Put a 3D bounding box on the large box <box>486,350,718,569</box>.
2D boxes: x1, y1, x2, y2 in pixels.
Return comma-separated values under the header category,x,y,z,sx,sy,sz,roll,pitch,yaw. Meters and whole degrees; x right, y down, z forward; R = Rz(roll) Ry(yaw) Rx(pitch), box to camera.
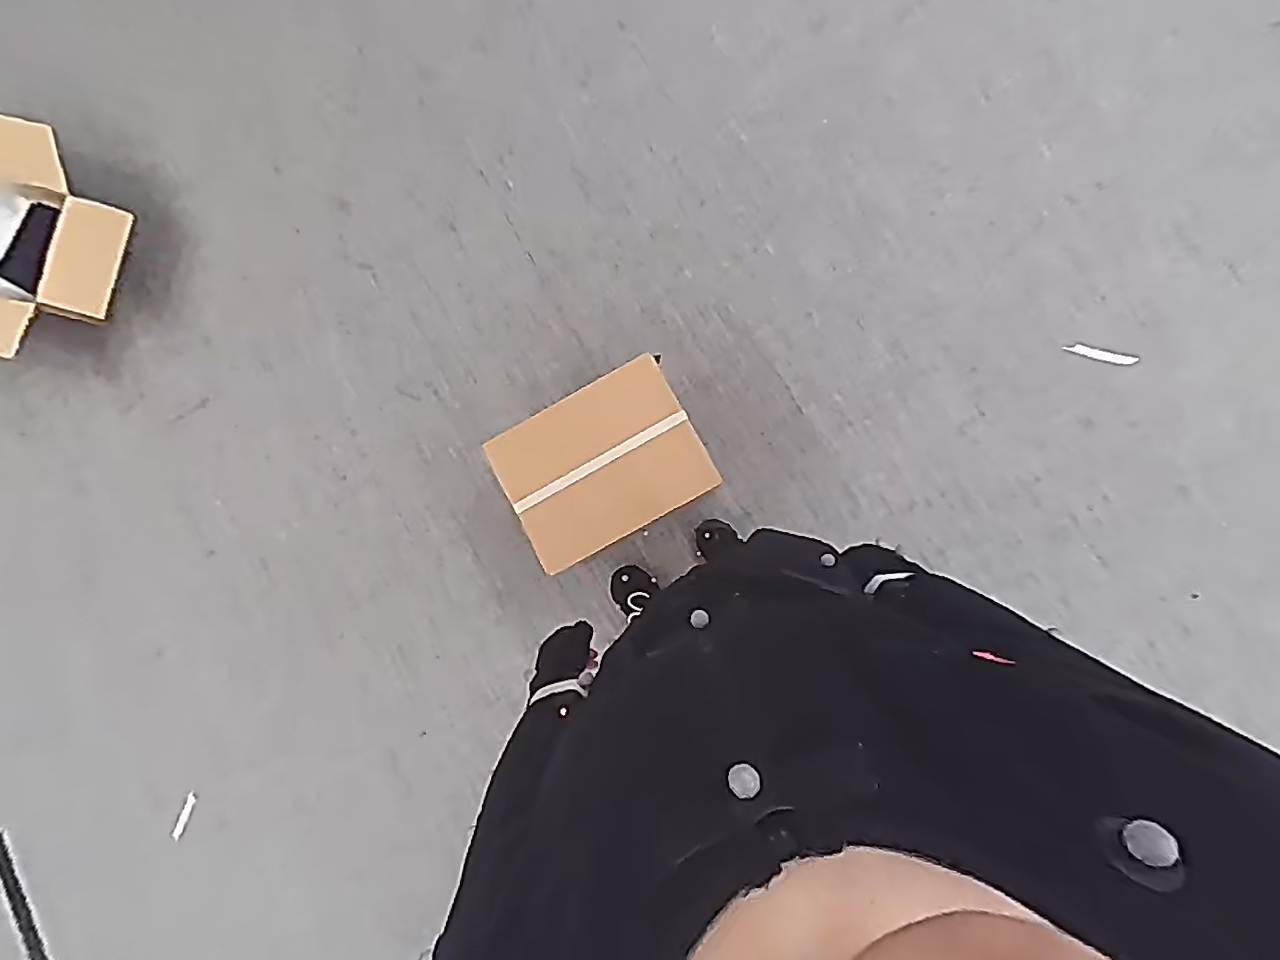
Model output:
category,x,y,z,sx,sy,sz,roll,pitch,yaw
large box,-0.072,-0.031,1.264,0.408,0.320,0.320,-29,85,2
